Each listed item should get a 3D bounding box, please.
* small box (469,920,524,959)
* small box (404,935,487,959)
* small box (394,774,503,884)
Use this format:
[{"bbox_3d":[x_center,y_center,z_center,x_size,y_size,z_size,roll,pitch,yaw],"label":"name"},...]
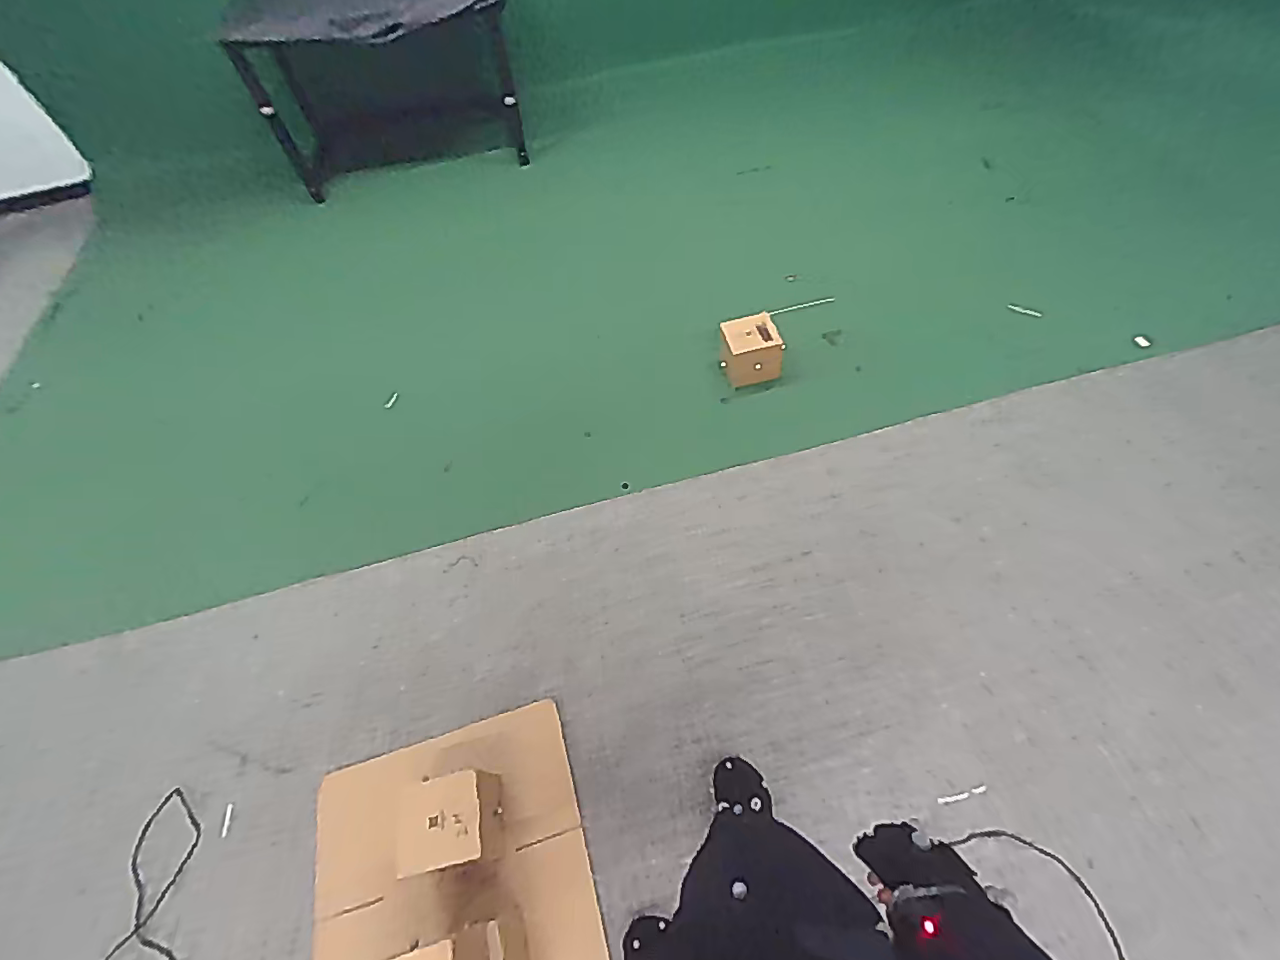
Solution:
[{"bbox_3d":[-0.316,0.973,1.027,0.179,0.176,0.168,-19,56,-6],"label":"small box"},{"bbox_3d":[-0.360,0.888,0.892,0.179,0.176,0.168,-17,56,-5],"label":"small box"},{"bbox_3d":[-0.413,0.762,1.182,0.179,0.176,0.168,-13,57,-4],"label":"small box"}]
